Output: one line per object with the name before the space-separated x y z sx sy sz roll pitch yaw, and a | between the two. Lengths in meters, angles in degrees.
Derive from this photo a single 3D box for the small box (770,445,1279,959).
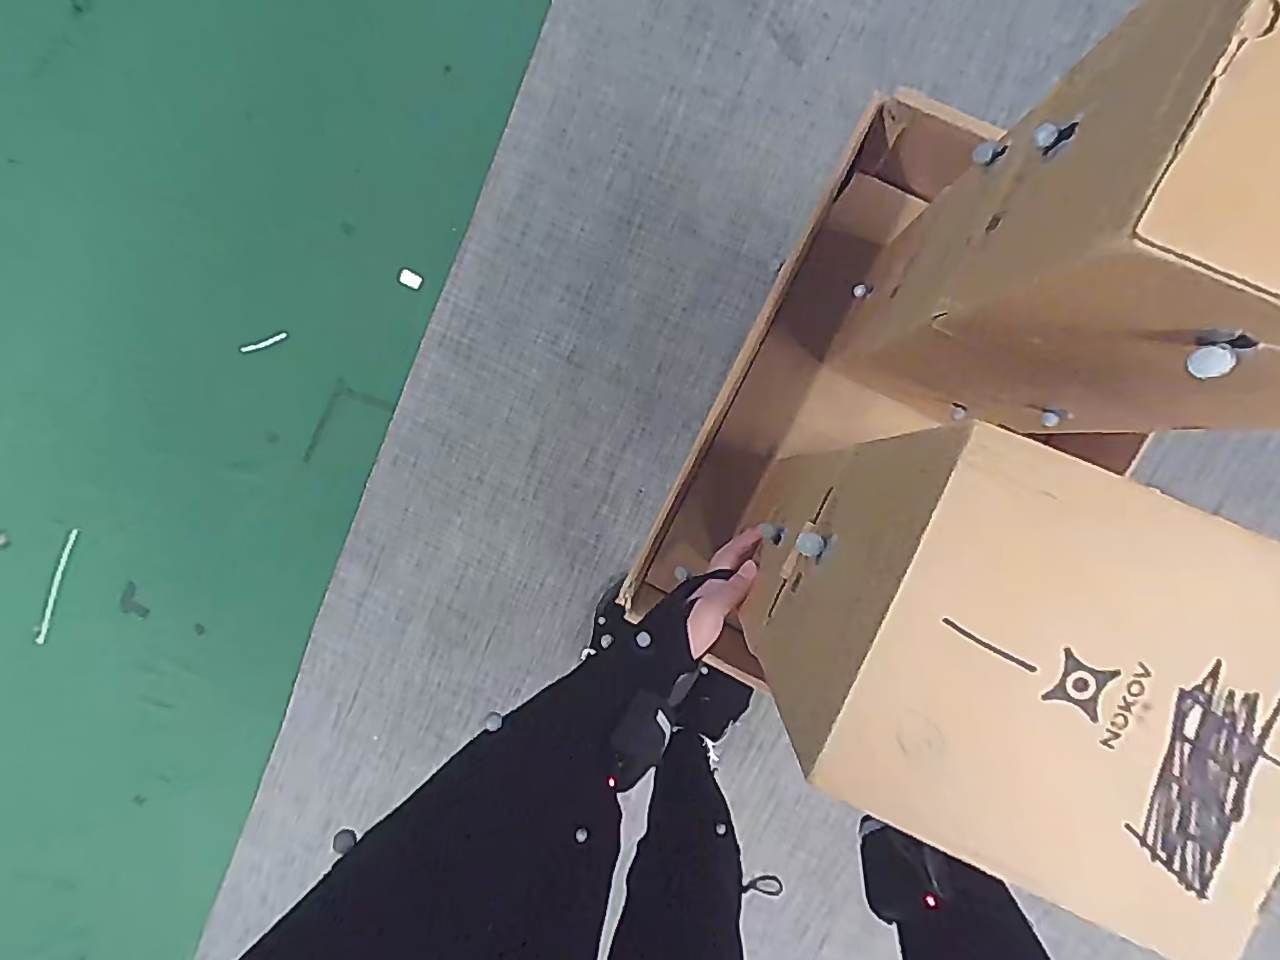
small box | 0.190 0.092 0.288 0.179 0.176 0.168 25 92 5

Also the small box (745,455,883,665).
small box | 0.202 0.093 0.453 0.179 0.176 0.168 26 93 5

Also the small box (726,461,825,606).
small box | 0.213 0.093 0.617 0.179 0.176 0.168 29 92 3
